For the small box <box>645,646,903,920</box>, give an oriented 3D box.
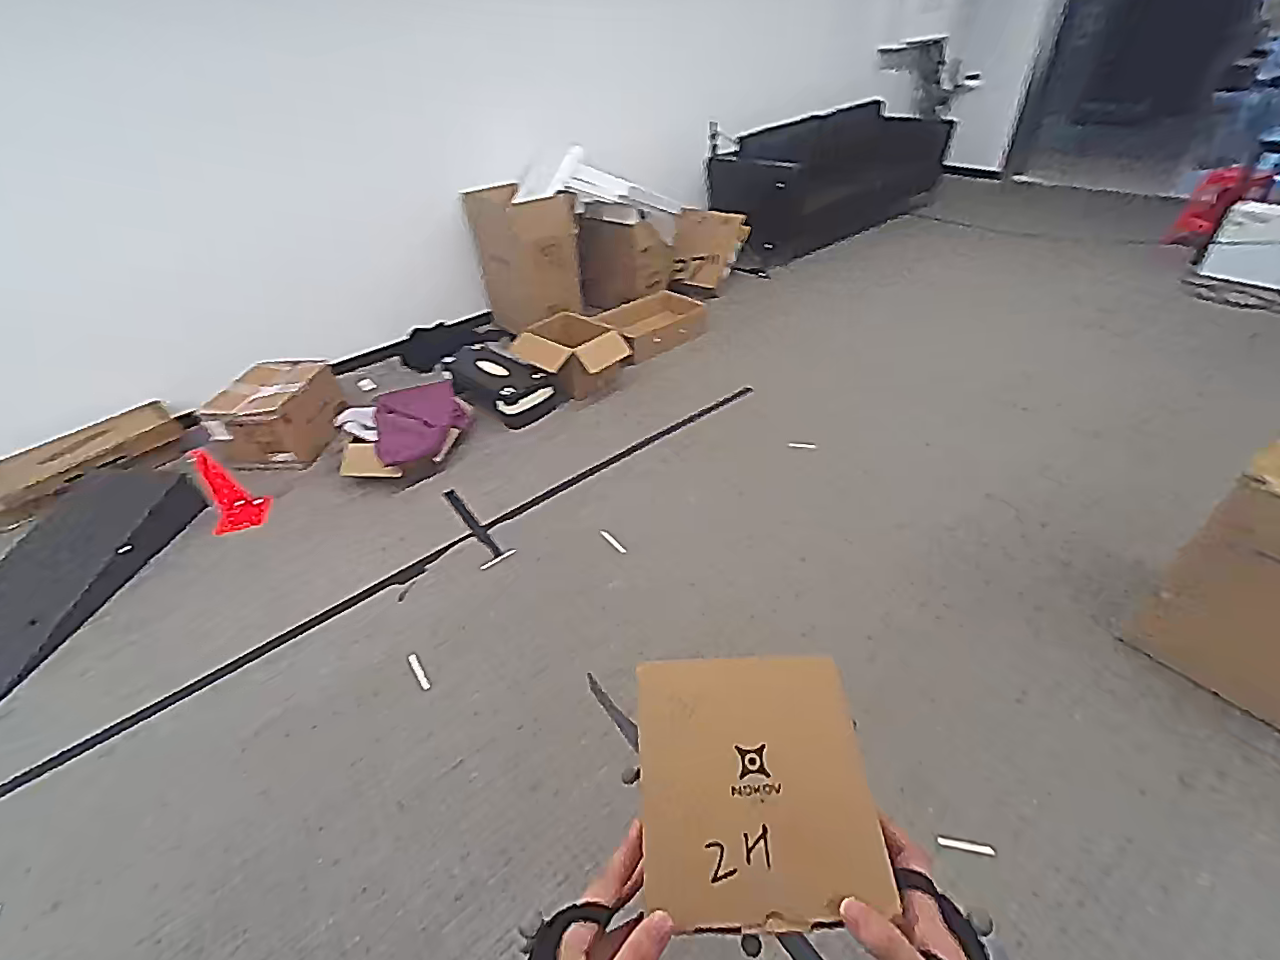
[{"bbox_3d":[0.088,0.259,0.462,0.168,0.176,0.179,-2,50,0],"label":"small box"}]
